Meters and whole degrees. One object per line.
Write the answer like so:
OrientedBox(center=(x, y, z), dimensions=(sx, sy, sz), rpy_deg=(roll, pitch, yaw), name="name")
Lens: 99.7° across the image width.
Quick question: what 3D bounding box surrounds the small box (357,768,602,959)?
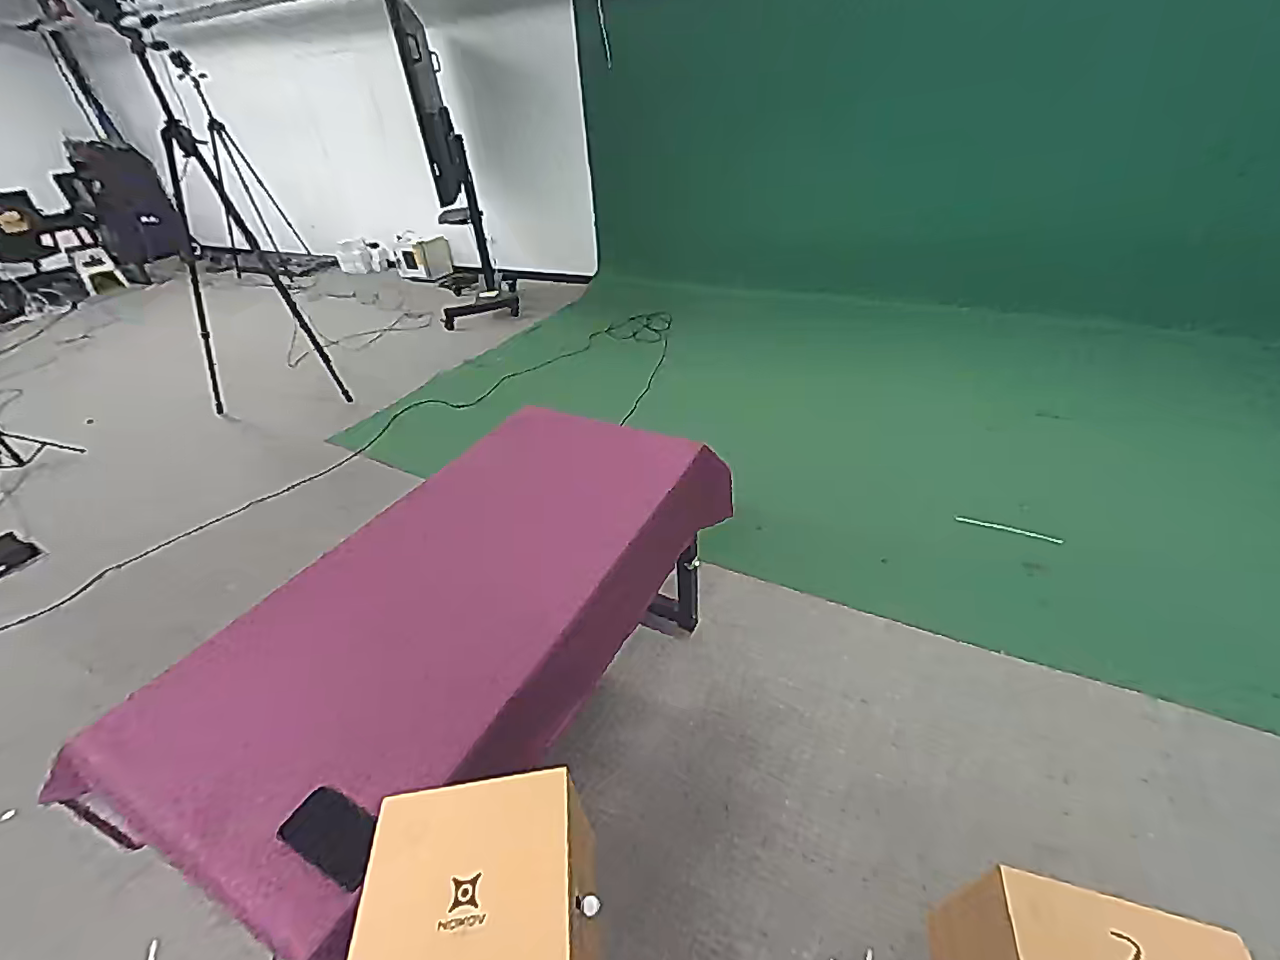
OrientedBox(center=(-0.127, 0.390, 0.478), dimensions=(0.168, 0.176, 0.179), rpy_deg=(-8, 40, -2), name="small box")
